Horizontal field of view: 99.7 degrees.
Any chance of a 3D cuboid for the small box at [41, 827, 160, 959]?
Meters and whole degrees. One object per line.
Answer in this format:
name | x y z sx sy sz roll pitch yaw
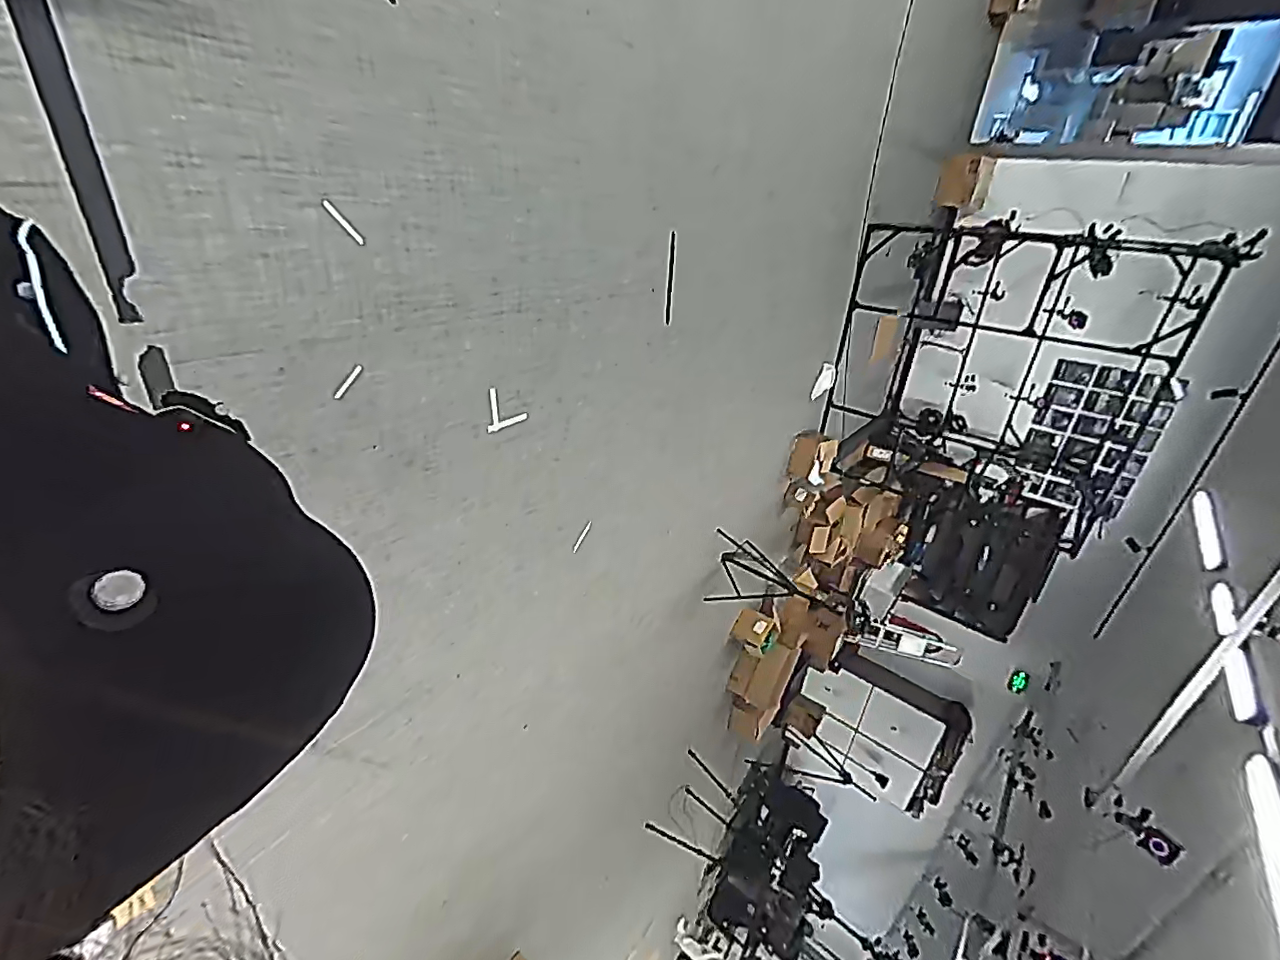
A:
small box | -1.328 1.004 1.332 0.168 0.176 0.179 -19 125 -48
